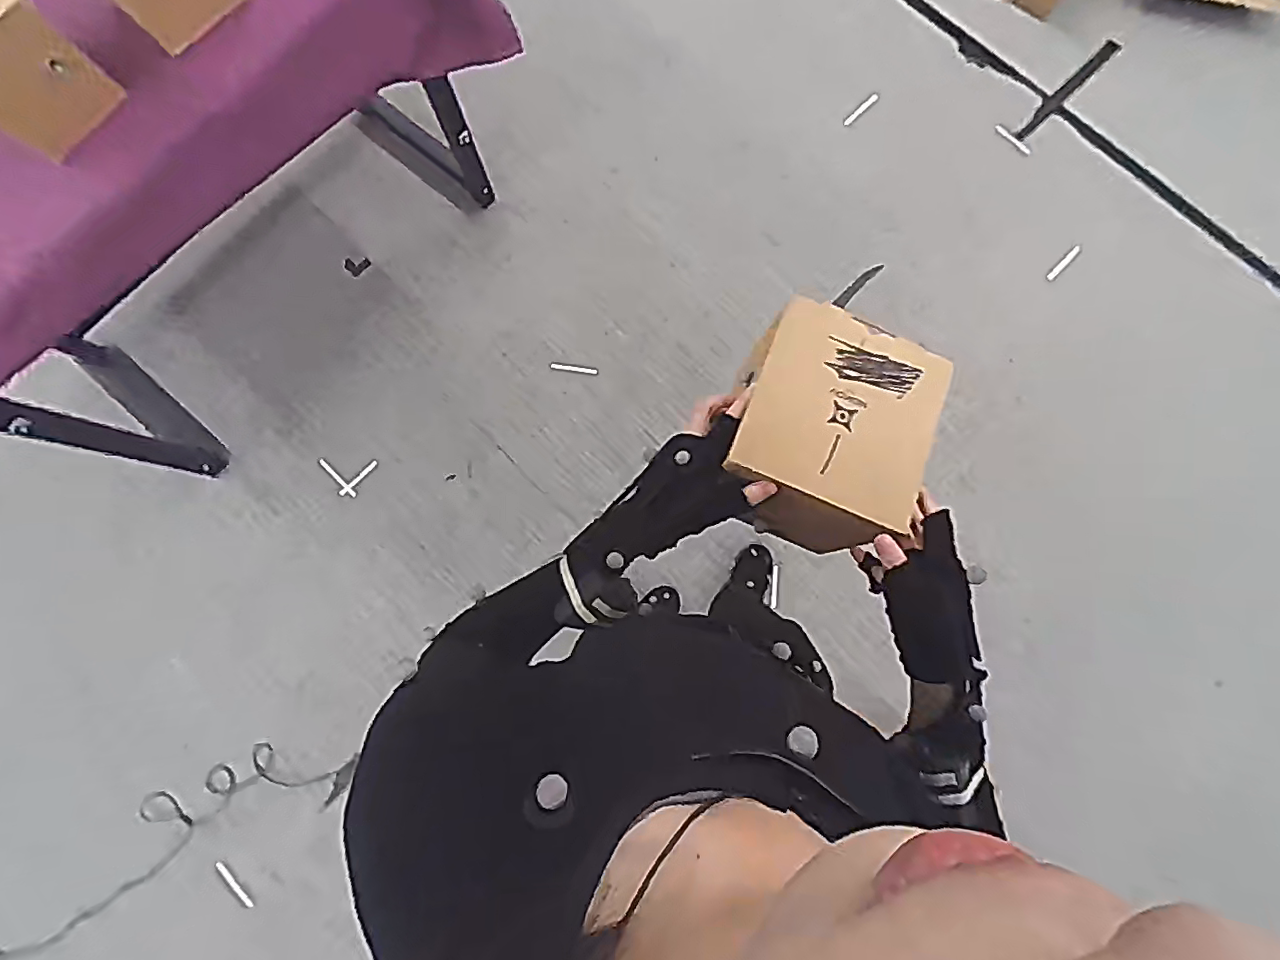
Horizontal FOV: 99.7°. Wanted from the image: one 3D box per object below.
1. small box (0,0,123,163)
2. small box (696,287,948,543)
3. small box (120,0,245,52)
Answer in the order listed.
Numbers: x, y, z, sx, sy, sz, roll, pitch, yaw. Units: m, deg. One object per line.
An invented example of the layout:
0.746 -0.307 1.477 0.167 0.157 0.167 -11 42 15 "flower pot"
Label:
-0.985 -0.655 0.851 0.168 0.176 0.179 37 83 7 "small box"
0.169 -0.051 0.550 0.168 0.176 0.179 22 75 -1 "small box"
-0.803 -0.865 0.884 0.168 0.176 0.179 42 84 6 "small box"
